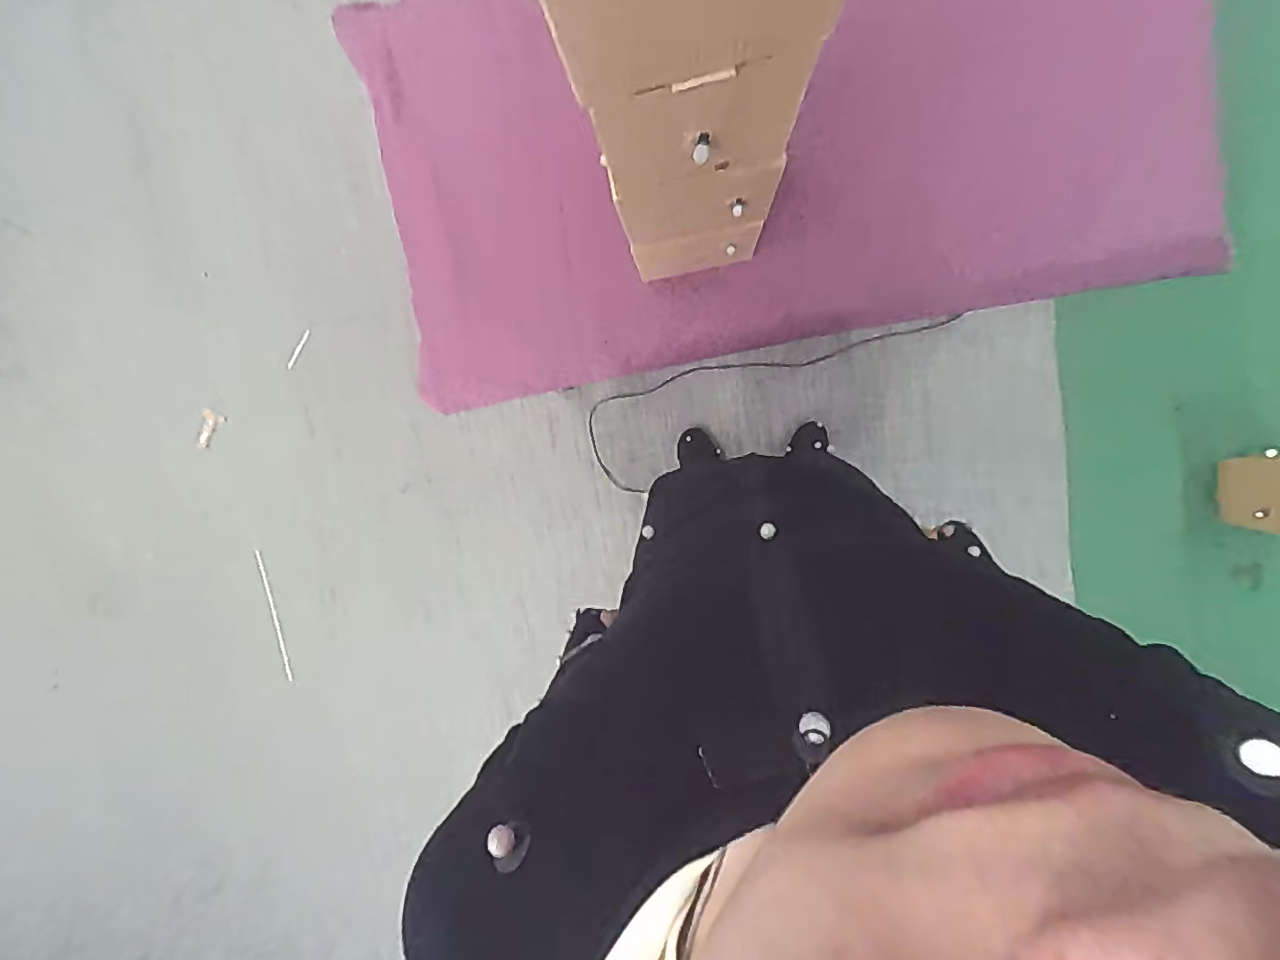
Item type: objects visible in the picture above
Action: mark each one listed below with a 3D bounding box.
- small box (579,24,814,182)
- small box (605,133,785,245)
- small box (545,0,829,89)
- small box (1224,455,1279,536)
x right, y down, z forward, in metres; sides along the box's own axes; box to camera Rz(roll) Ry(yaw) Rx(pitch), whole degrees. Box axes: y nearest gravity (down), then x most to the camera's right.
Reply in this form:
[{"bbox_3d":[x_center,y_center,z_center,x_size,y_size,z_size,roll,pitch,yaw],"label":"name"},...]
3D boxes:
[{"bbox_3d":[0.033,-0.371,0.443,0.168,0.176,0.179,-10,96,7],"label":"small box"},{"bbox_3d":[0.052,-0.384,0.604,0.179,0.176,0.168,-9,95,8],"label":"small box"},{"bbox_3d":[0.017,-0.349,0.280,0.179,0.176,0.168,-11,95,7],"label":"small box"},{"bbox_3d":[1.645,0.035,1.367,0.168,0.176,0.179,-8,96,8],"label":"small box"}]
